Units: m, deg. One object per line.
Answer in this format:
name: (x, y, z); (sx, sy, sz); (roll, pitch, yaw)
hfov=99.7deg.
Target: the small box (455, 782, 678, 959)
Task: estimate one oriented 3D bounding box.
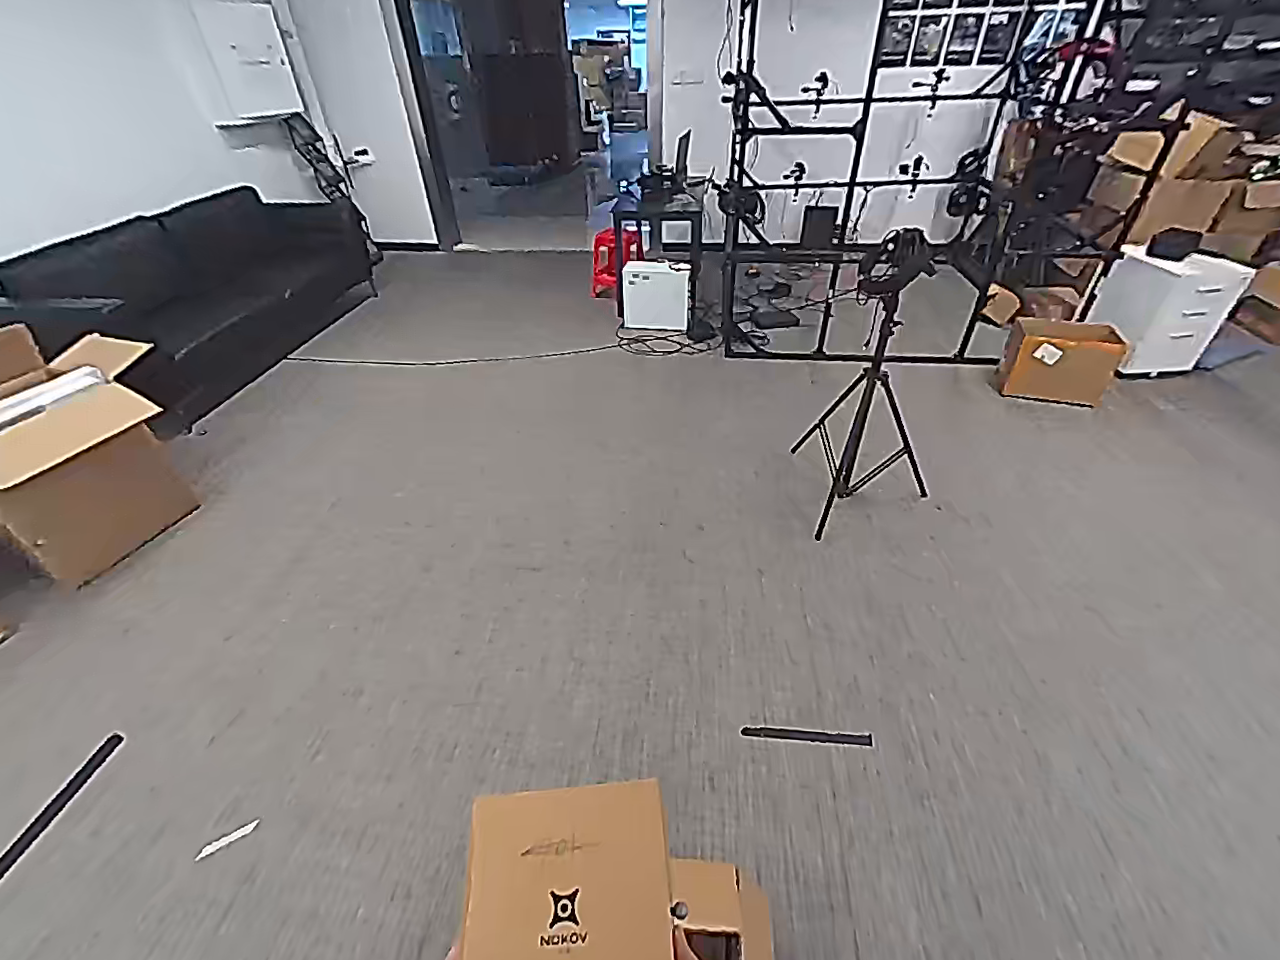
small box: (-0.053, 0.383, 0.475); (0.168, 0.176, 0.179); (-5, 51, -1)
